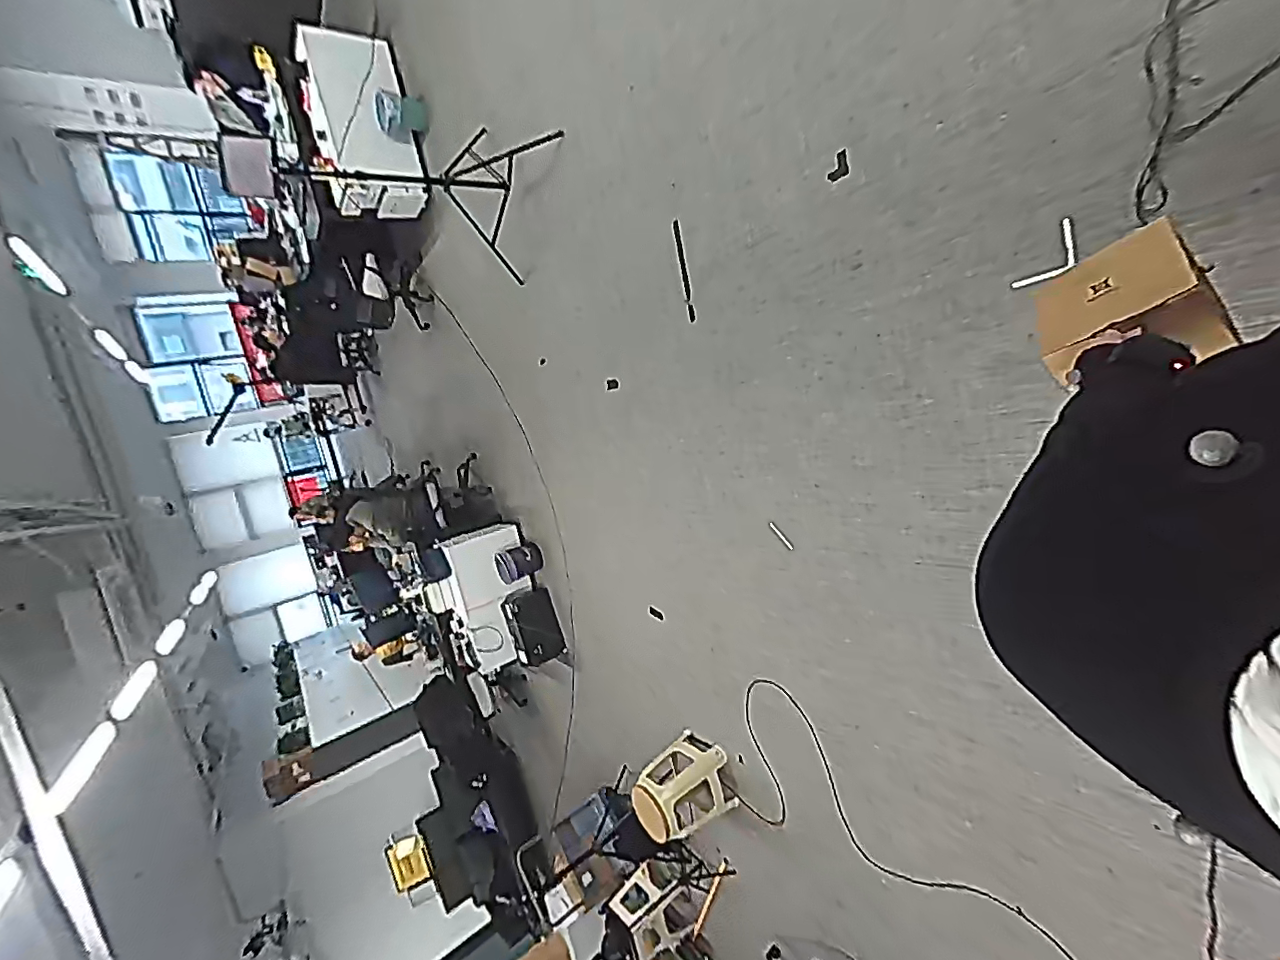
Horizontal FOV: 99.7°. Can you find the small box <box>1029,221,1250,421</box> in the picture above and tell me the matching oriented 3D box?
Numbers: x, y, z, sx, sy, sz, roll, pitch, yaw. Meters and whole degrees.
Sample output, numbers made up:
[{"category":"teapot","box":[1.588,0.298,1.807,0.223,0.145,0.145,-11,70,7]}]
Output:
[{"category":"small box","box":[0.678,-0.205,0.747,0.176,0.179,0.168,37,143,-18]}]
